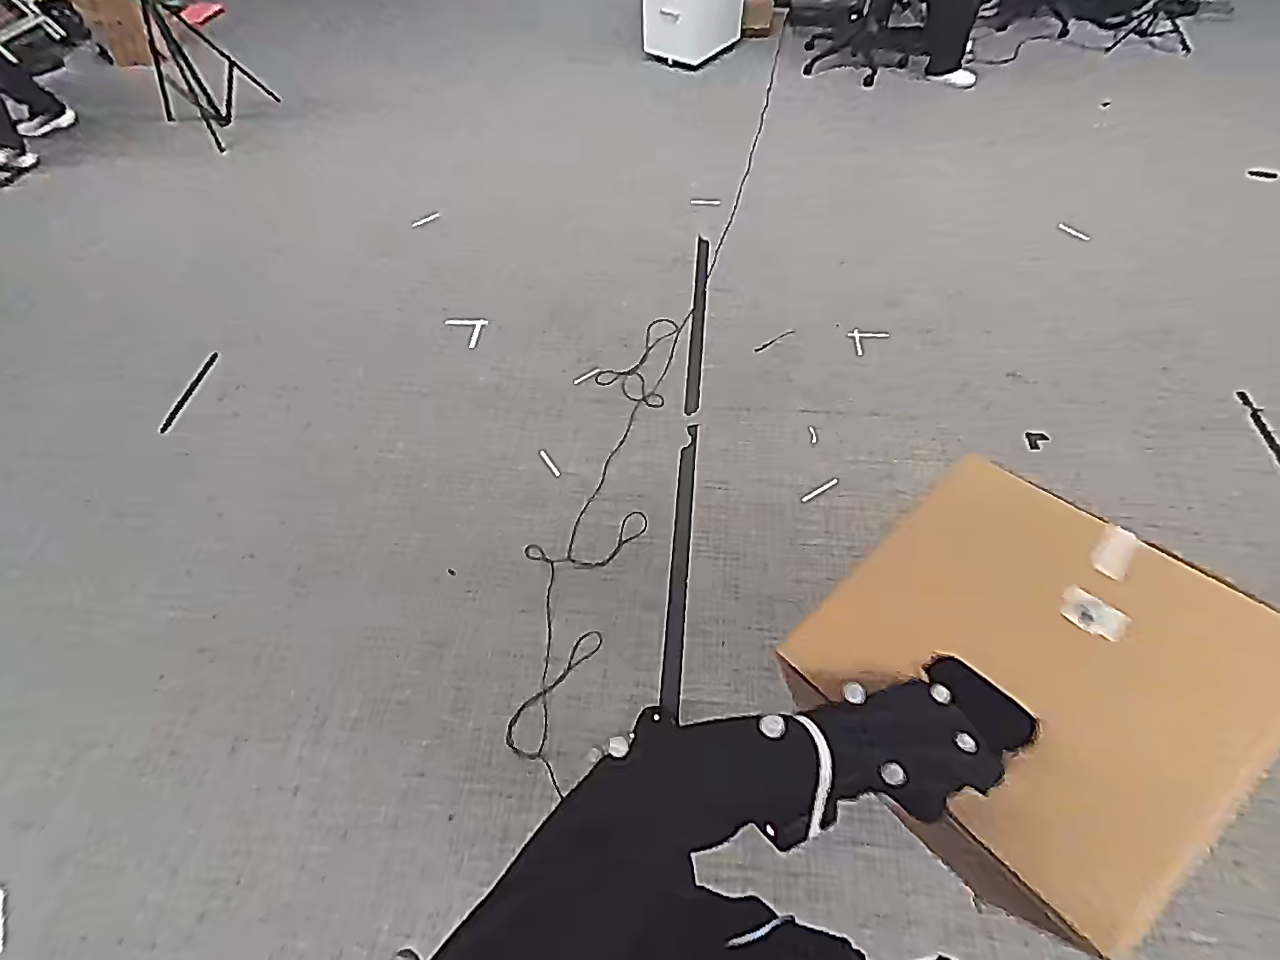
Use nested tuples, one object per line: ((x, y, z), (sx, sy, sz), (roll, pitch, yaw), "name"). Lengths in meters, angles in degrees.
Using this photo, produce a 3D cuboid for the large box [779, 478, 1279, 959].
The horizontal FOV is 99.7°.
((0.409, 0.273, 0.637), (0.320, 0.408, 0.320), (-41, 52, -6), "large box")
